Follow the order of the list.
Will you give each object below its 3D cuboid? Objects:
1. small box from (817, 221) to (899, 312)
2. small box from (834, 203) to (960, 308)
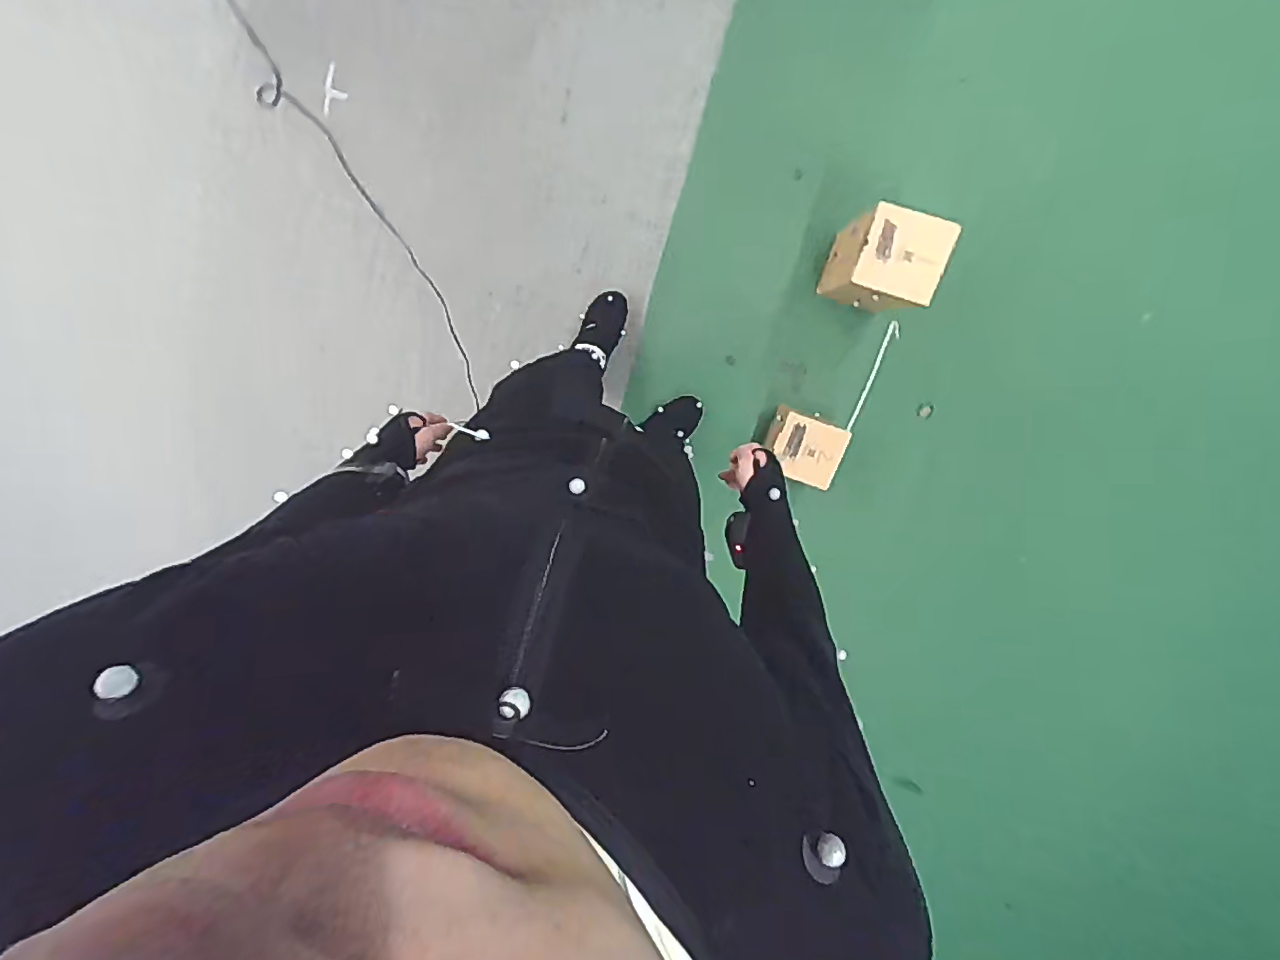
[{"bbox_3d":[0.573,-0.530,1.364,0.179,0.176,0.168,18,105,1],"label":"small box"},{"bbox_3d":[0.558,-0.490,1.205,0.179,0.176,0.168,18,106,1],"label":"small box"}]
